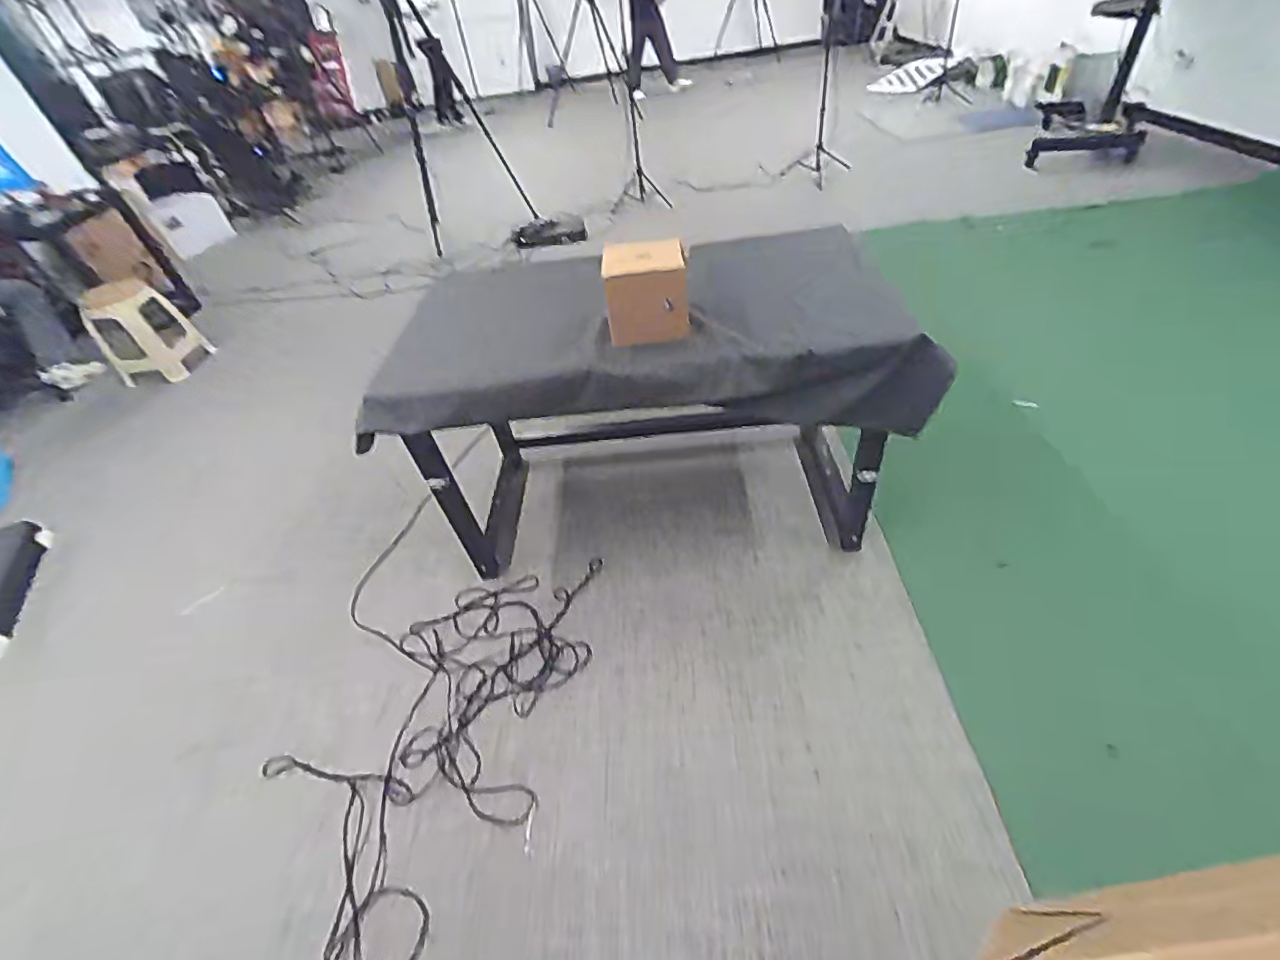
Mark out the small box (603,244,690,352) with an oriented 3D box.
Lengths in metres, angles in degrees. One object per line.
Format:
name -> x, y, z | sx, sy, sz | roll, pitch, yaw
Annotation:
small box -> 0.020, -0.408, 1.220 | 0.179, 0.176, 0.168 | -7, 42, 5
